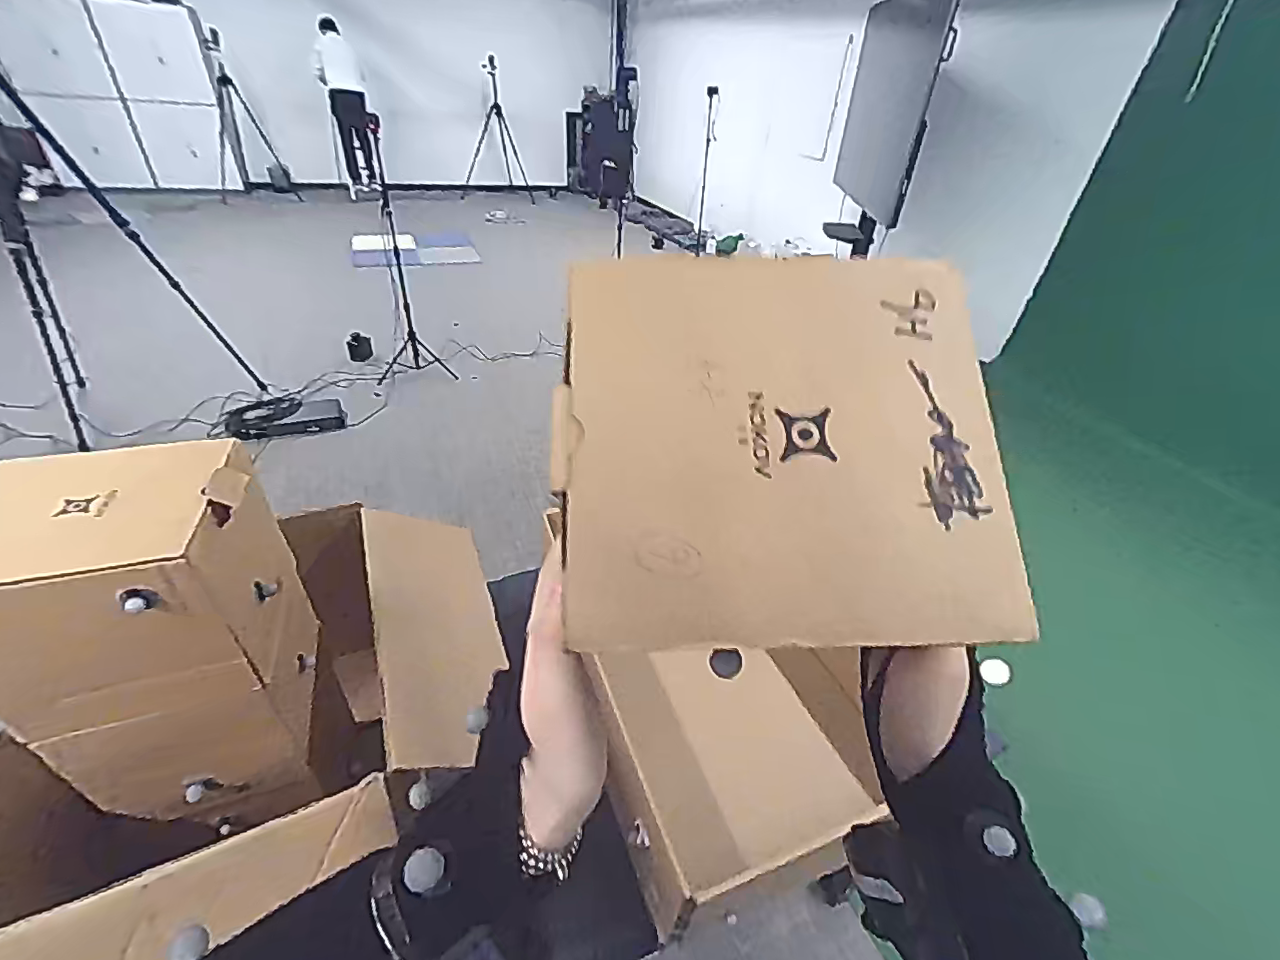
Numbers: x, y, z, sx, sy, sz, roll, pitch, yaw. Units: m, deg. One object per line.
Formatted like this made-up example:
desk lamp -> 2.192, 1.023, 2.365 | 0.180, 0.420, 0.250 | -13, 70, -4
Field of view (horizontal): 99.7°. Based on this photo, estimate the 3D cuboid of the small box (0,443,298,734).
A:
small box -> -0.431, 0.089, 0.471 | 0.179, 0.176, 0.168 | -8, 39, -18

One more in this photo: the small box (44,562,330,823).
small box -> -0.443, 0.216, 0.571 | 0.168, 0.176, 0.179 | -9, 40, -19

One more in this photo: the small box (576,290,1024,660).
small box -> 0.060, 0.014, 0.306 | 0.179, 0.176, 0.168 | -1, 74, -2
